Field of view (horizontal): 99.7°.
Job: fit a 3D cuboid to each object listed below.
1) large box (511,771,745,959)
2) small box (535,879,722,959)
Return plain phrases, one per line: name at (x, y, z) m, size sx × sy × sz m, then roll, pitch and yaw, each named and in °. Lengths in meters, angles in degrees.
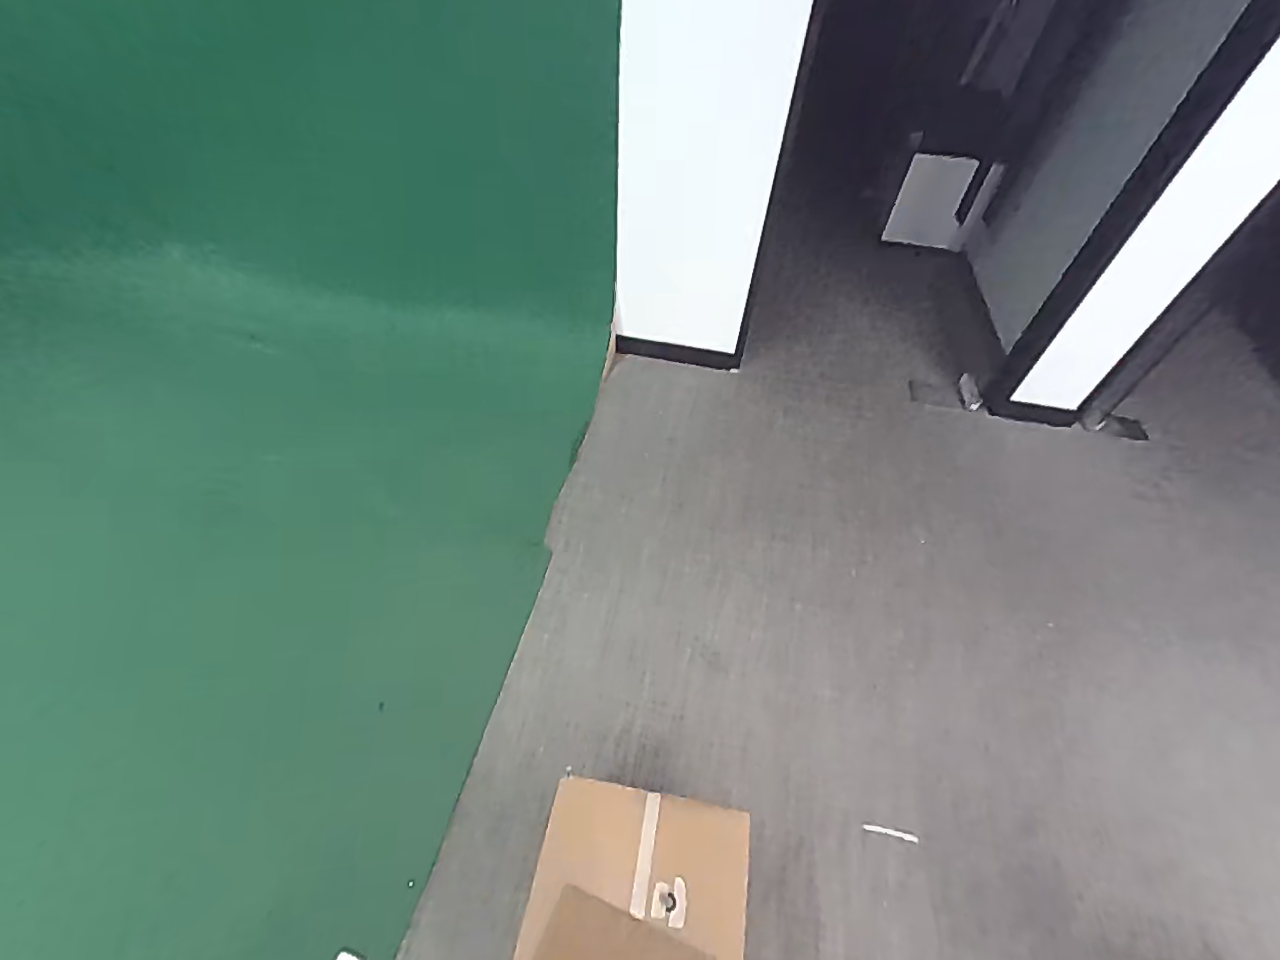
large box at (-0.021, 0.745, 0.856) m, size 0.320 × 0.320 × 0.408 m, roll 10°, pitch 49°, yaw 5°
small box at (-0.038, 0.549, 0.514) m, size 0.179 × 0.176 × 0.168 m, roll 19°, pitch 14°, yaw 11°
